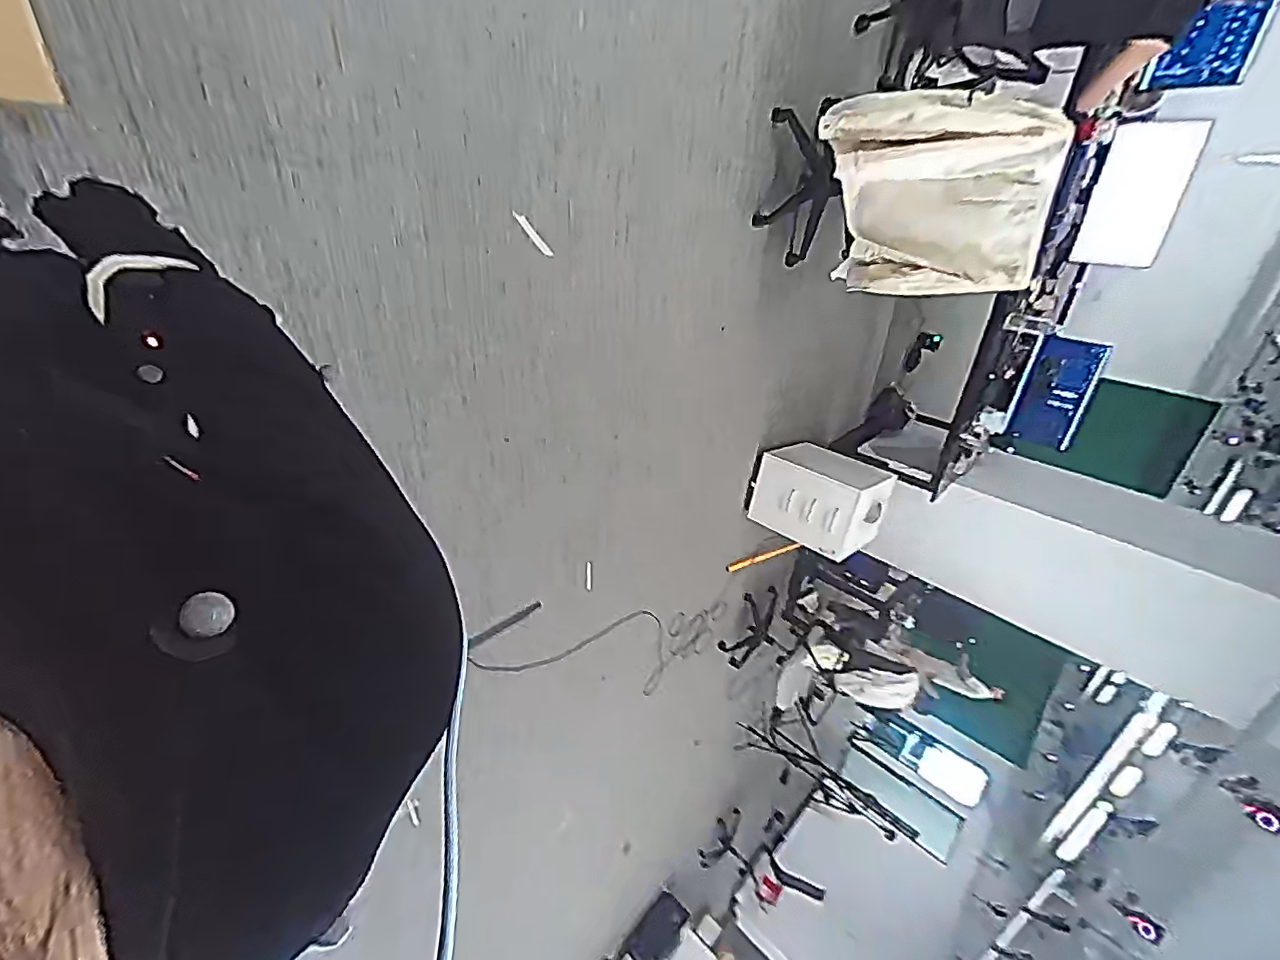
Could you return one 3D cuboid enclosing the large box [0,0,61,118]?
[{"bbox_3d":[-0.935,-0.575,0.542,0.408,0.320,0.320,-24,129,-41],"label":"large box"}]
